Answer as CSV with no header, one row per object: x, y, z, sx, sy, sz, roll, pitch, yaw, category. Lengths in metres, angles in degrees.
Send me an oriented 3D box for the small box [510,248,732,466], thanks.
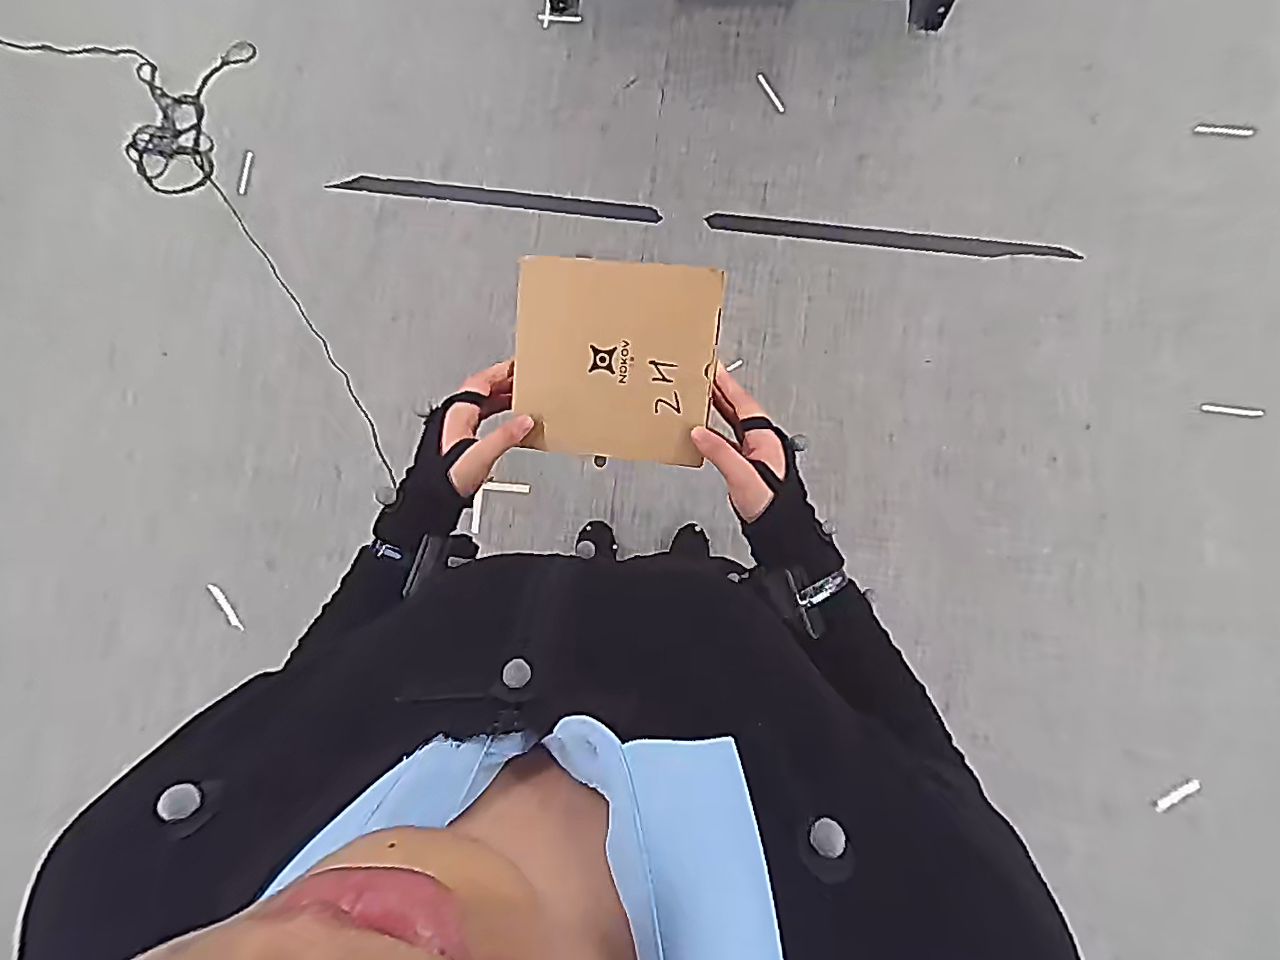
-0.012,-0.115,0.531,0.179,0.176,0.168,7,101,5,small box

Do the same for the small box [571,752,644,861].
-0.076,0.815,1.363,0.168,0.176,0.179,1,84,3,small box
